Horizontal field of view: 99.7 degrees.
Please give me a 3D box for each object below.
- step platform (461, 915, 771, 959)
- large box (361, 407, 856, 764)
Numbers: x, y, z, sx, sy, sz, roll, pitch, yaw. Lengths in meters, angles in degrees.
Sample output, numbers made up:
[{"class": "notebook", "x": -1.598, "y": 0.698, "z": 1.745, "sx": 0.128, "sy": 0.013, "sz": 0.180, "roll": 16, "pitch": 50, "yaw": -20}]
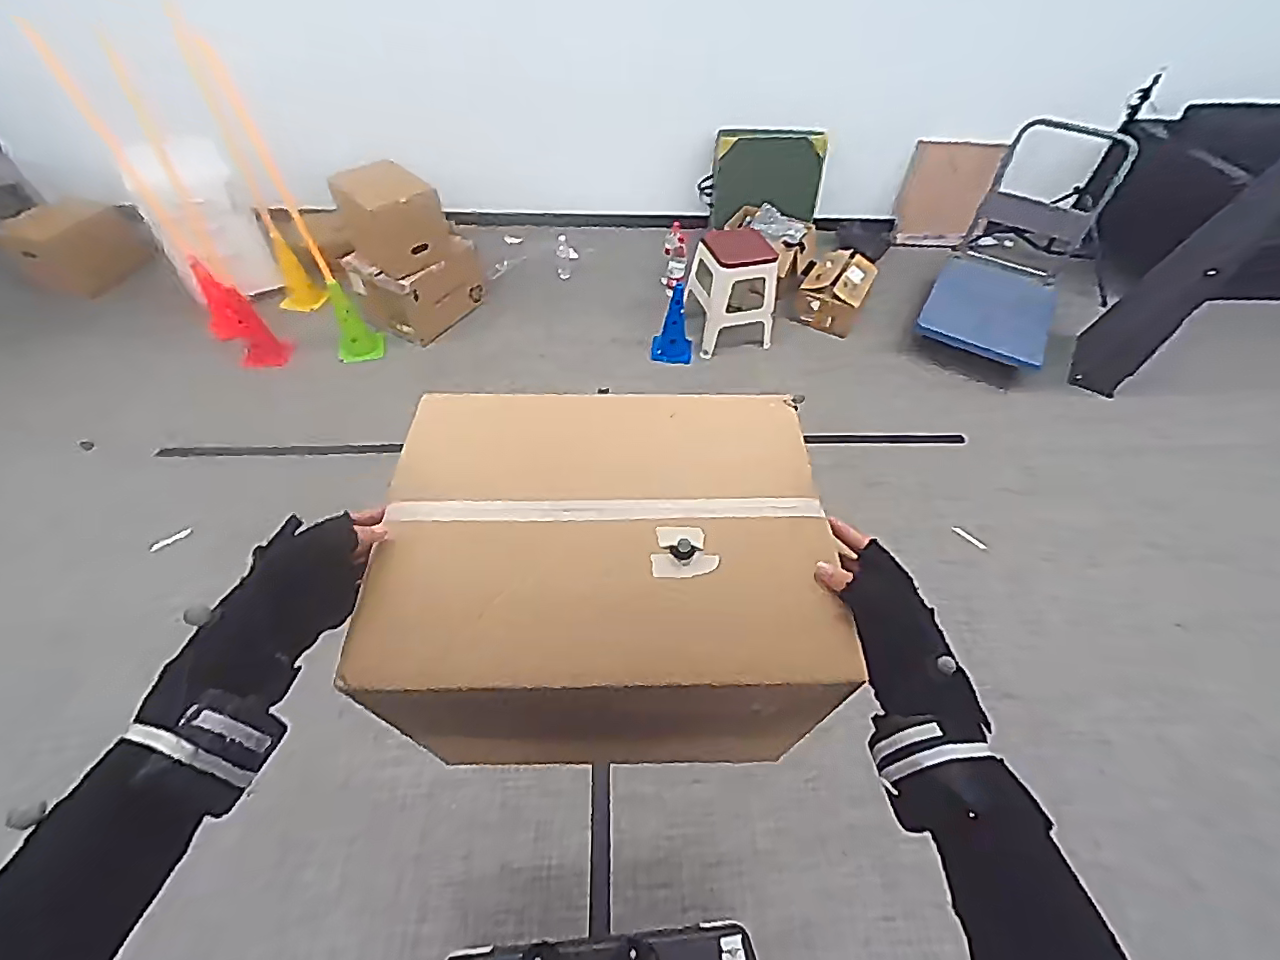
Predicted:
[{"class": "step platform", "x": -0.049, "y": 1.119, "z": 1.122, "sx": 0.684, "sy": 0.204, "sz": 0.286, "roll": -2, "pitch": 50, "yaw": -6}, {"class": "large box", "x": -0.031, "y": 0.130, "z": 0.635, "sx": 0.408, "sy": 0.320, "sz": 0.320, "roll": 0, "pitch": 53, "yaw": -2}]
